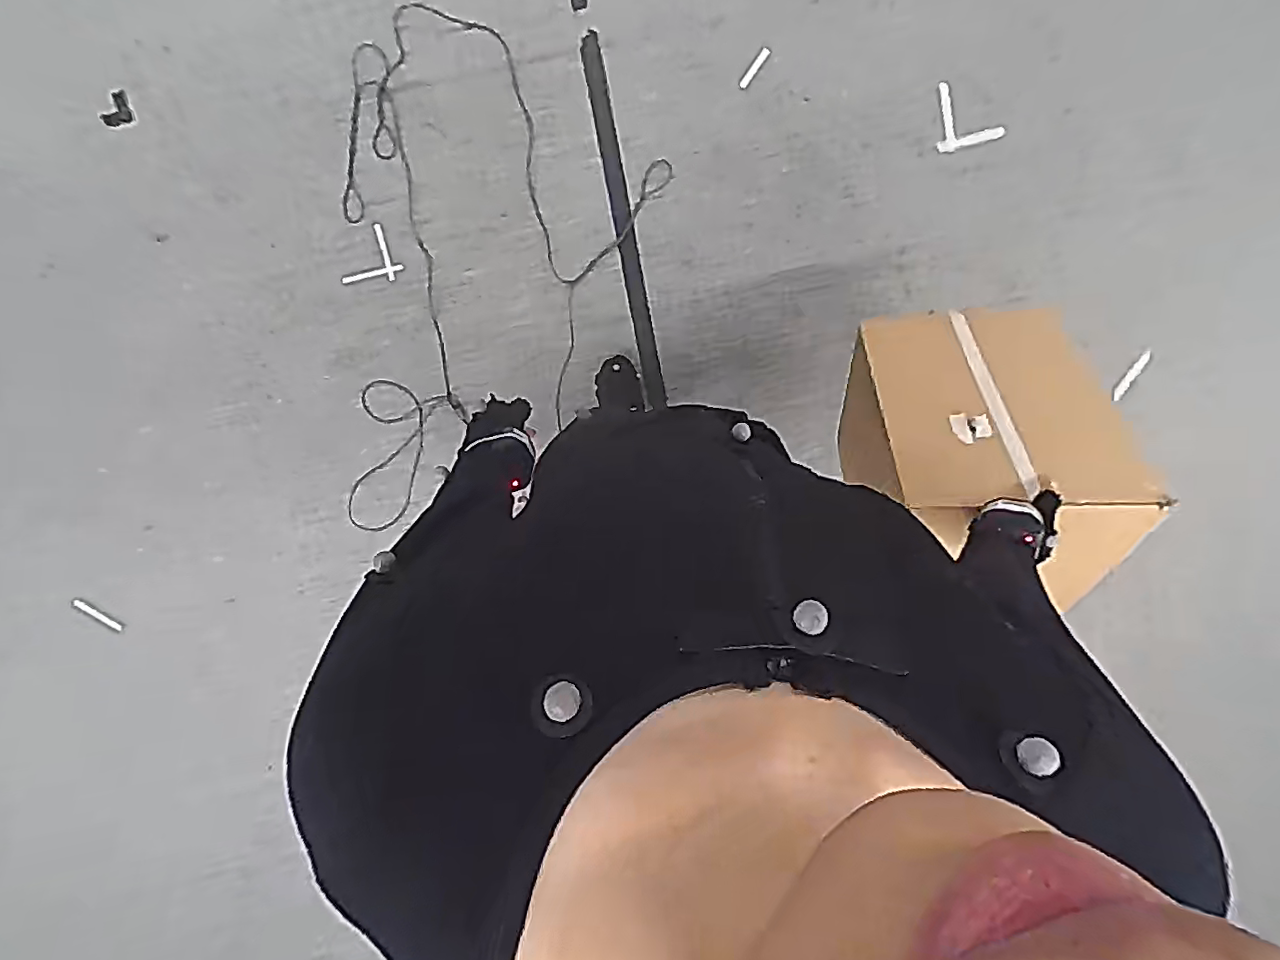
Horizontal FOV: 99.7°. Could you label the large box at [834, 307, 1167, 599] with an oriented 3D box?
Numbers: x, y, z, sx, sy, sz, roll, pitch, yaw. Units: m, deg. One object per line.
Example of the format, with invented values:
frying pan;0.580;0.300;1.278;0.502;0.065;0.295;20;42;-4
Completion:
large box;0.546;-0.040;0.937;0.320;0.408;0.320;-3;144;10
